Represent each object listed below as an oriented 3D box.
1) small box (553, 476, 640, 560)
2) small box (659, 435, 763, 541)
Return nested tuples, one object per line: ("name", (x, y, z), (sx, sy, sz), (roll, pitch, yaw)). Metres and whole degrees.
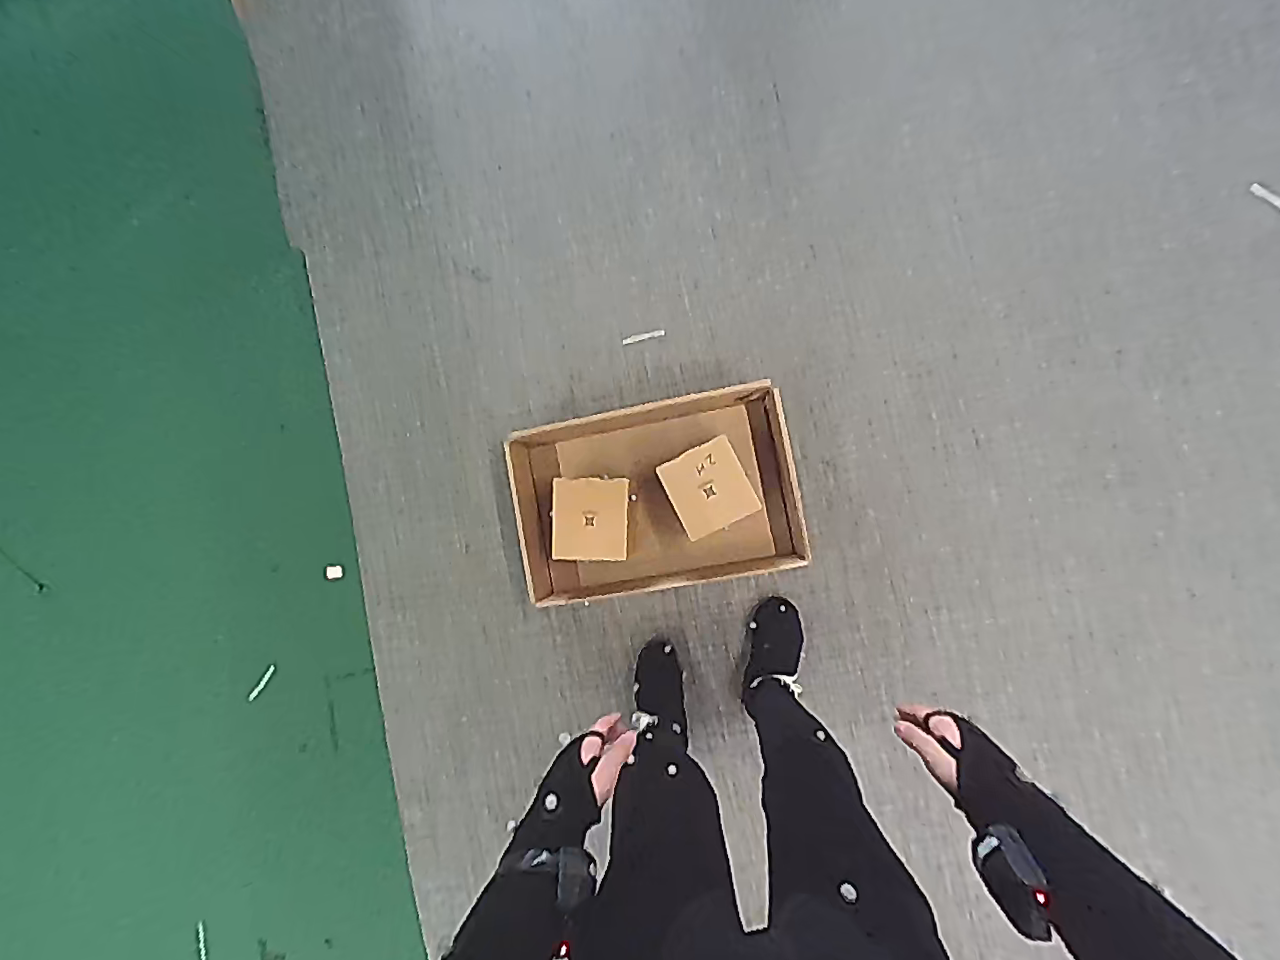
("small box", (-0.093, 0.083, 1.232), (0.168, 0.176, 0.179), (1, 87, 8))
("small box", (0.159, 0.017, 1.197), (0.168, 0.176, 0.179), (-26, 85, 7))
